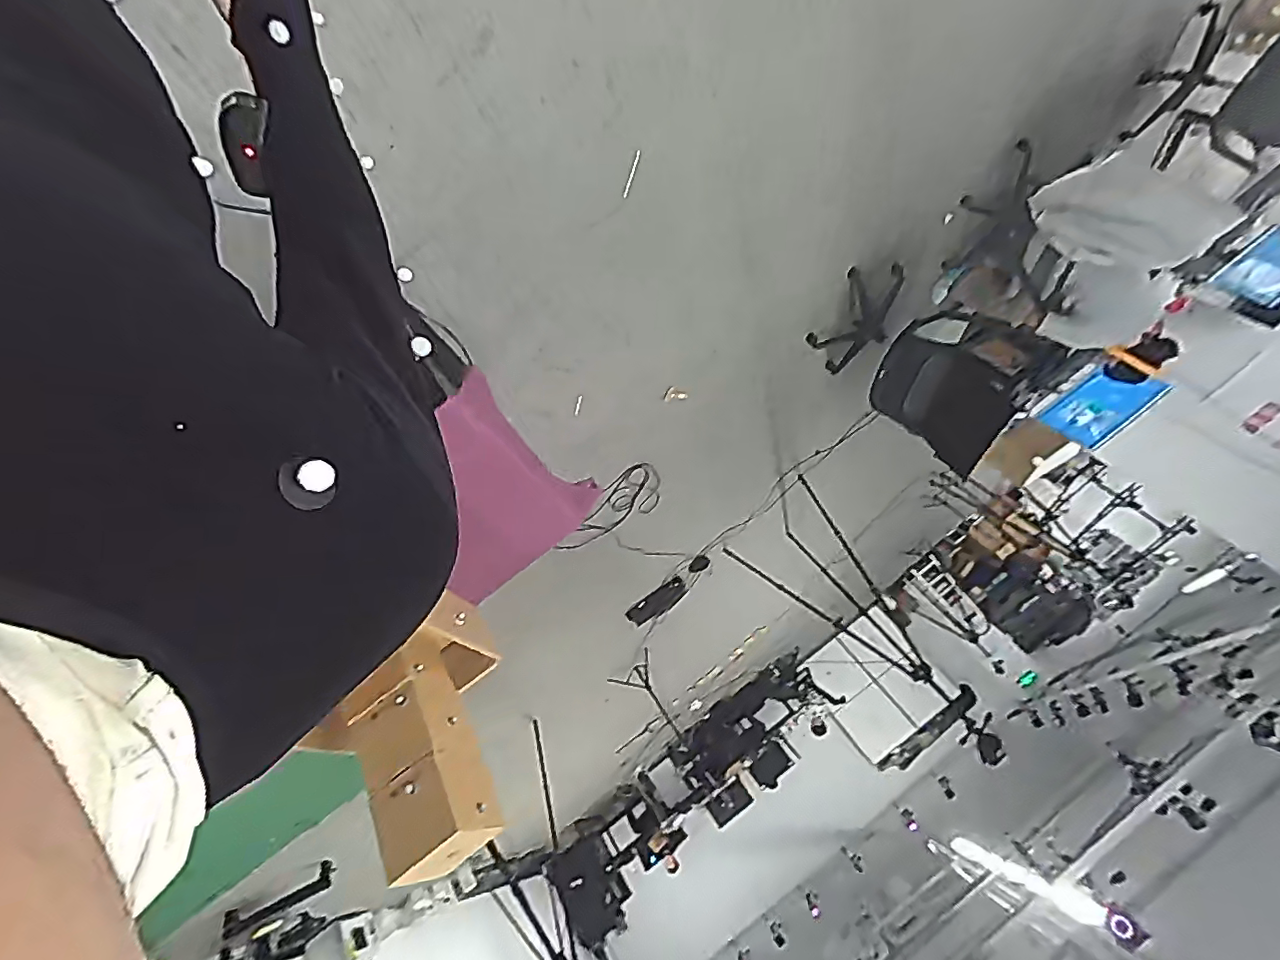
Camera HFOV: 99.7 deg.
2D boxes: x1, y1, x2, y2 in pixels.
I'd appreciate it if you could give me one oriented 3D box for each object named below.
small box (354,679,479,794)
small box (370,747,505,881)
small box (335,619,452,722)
[{"bbox_3d":[-0.495,0.566,1.196,0.168,0.176,0.179,-37,146,-2],"label":"small box"},{"bbox_3d":[-0.413,0.672,1.104,0.168,0.176,0.179,-37,145,-3],"label":"small box"},{"bbox_3d":[-0.584,0.457,1.281,0.168,0.176,0.179,-37,145,-3],"label":"small box"}]
